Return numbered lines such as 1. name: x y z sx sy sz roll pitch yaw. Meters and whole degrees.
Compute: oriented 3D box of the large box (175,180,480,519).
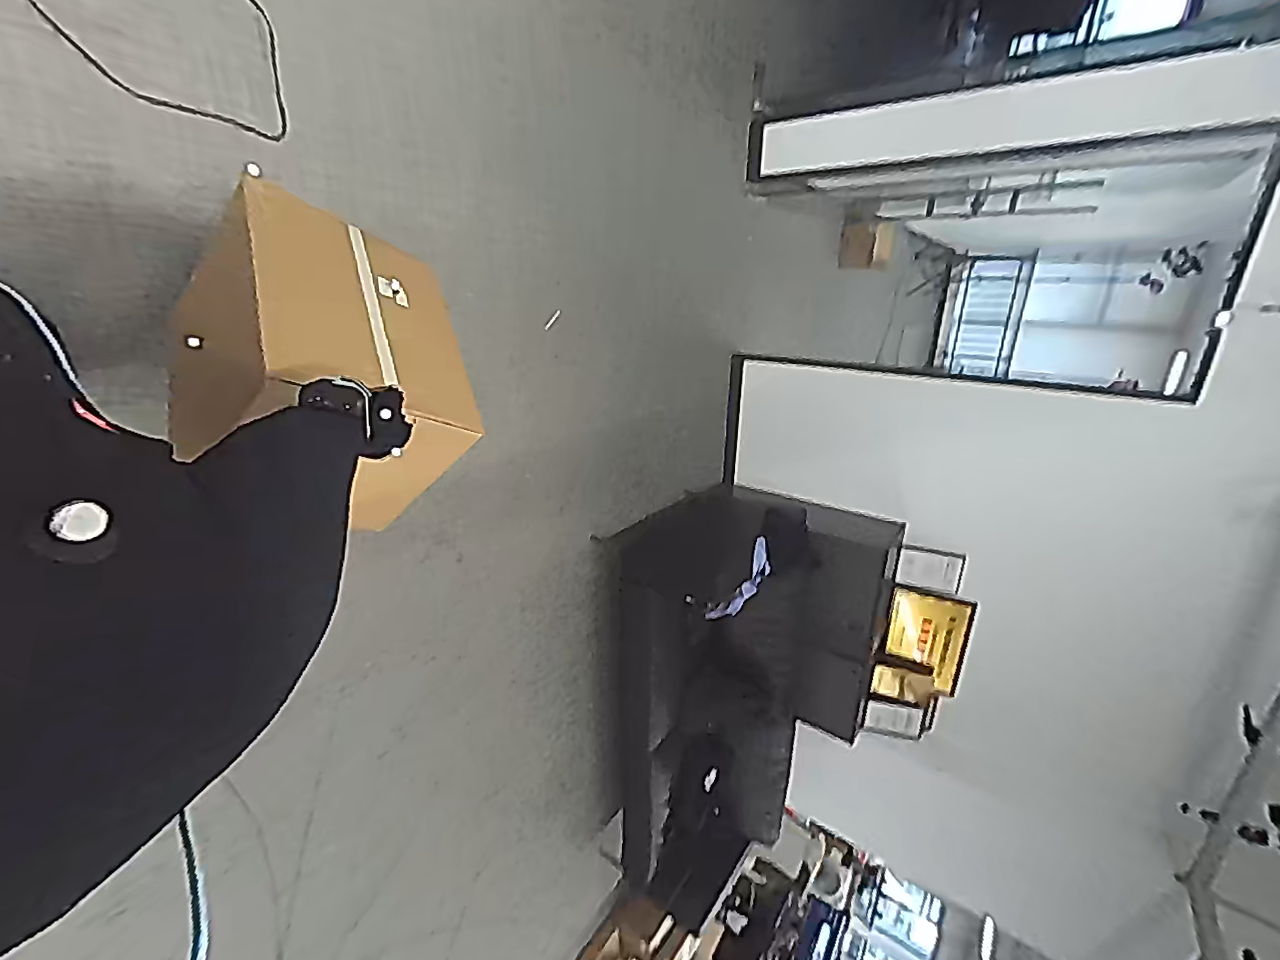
1. large box: -0.532 -0.182 0.906 0.320 0.408 0.320 -37 153 25
